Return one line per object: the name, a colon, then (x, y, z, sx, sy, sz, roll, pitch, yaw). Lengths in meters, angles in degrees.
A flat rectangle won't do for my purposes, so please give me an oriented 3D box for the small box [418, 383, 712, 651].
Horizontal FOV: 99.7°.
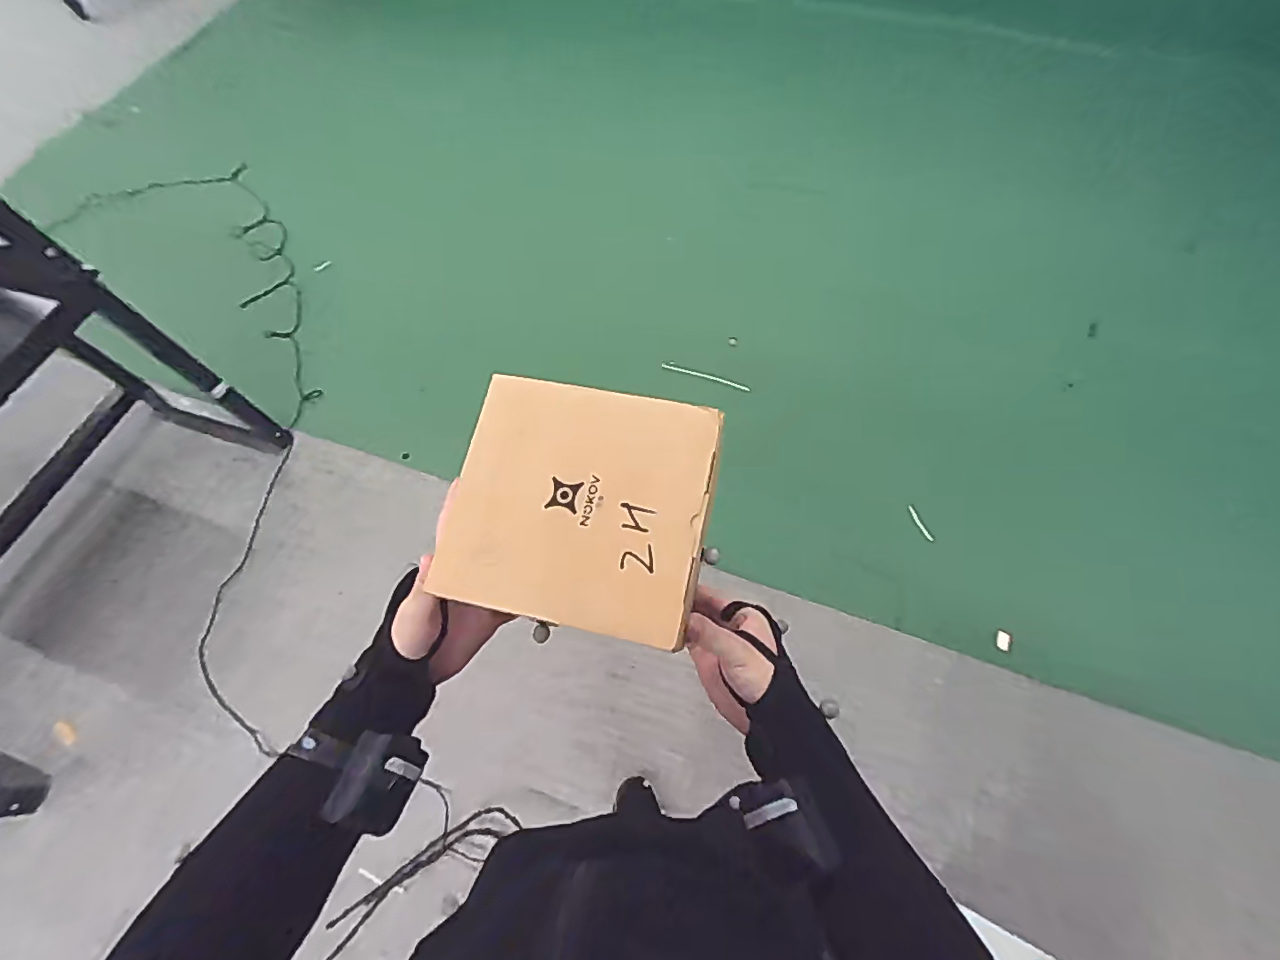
small box: (-0.041, 0.040, 0.448, 0.179, 0.176, 0.168, 10, 75, 10)
